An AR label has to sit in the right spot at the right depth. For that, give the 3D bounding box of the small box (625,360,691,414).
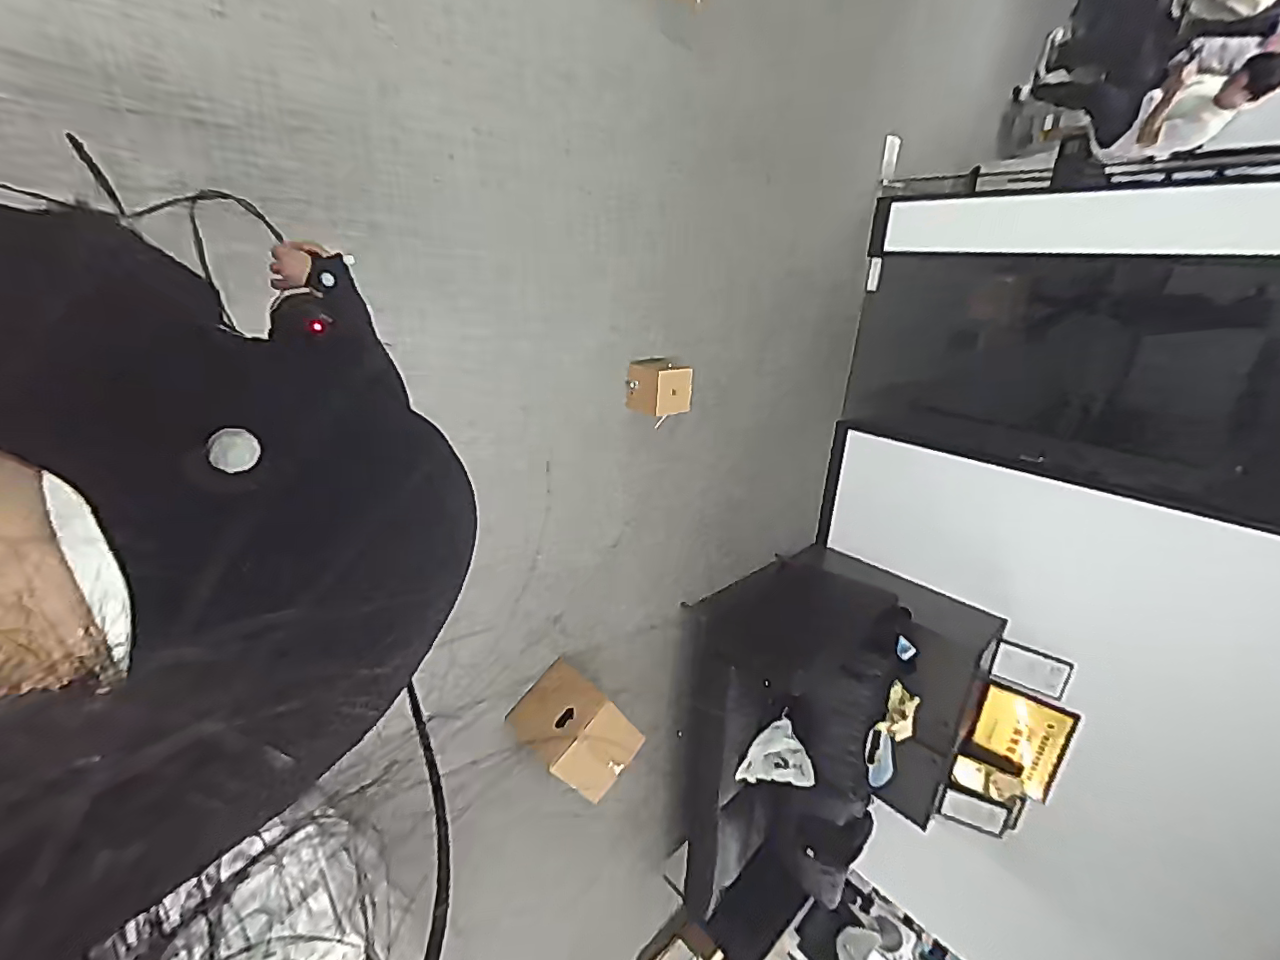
[{"bbox_3d":[0.066,-0.352,2.020,0.179,0.176,0.168,-15,118,-39],"label":"small box"}]
